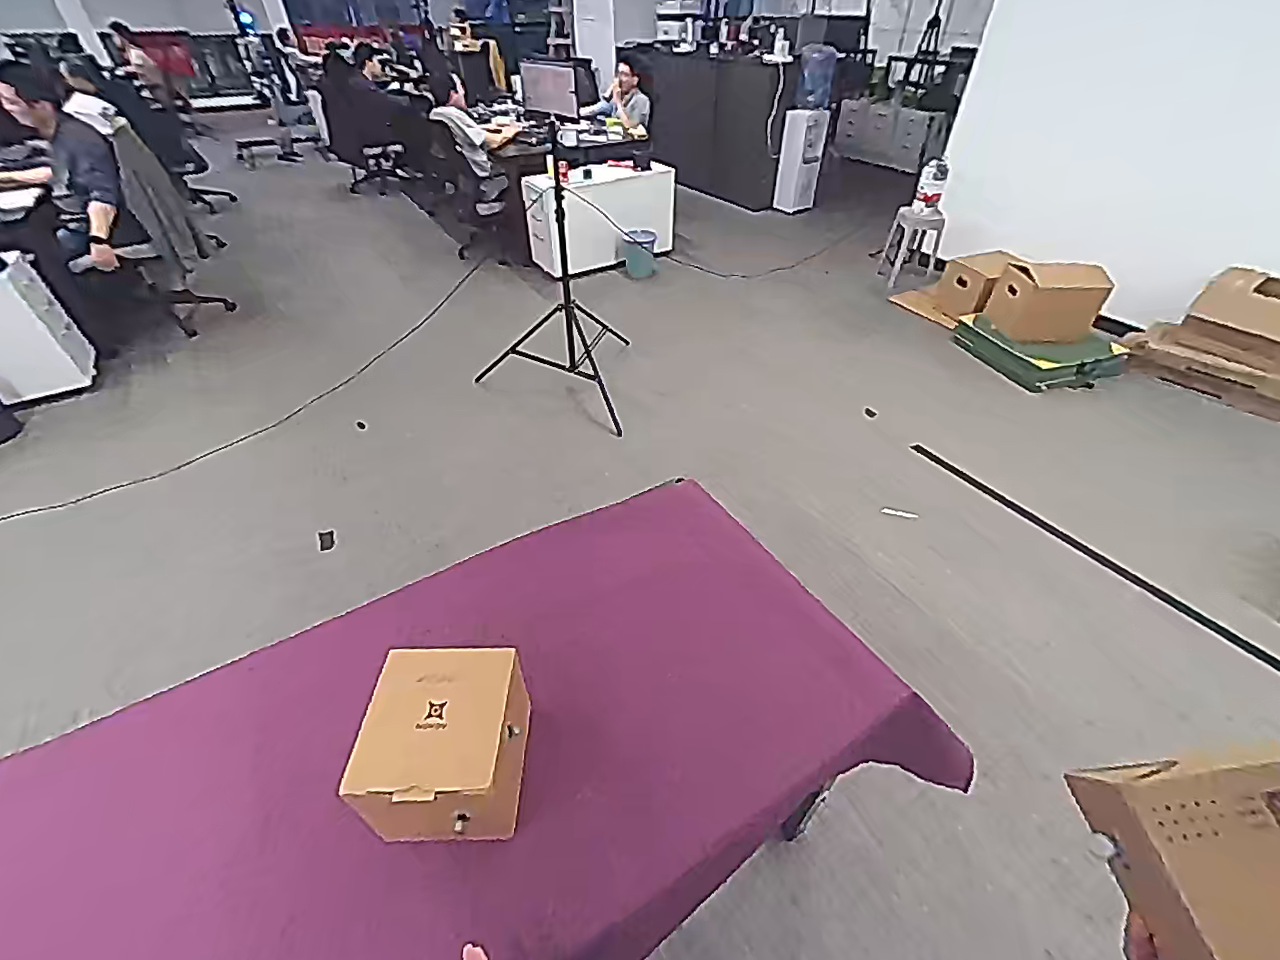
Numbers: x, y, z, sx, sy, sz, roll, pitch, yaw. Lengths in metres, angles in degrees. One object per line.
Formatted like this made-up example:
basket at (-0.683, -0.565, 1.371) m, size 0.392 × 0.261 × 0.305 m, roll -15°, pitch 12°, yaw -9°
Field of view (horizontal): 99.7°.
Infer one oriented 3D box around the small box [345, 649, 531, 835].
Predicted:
small box at (-0.242, 0.342, 0.701) m, size 0.168 × 0.176 × 0.179 m, roll -1°, pitch 41°, yaw -1°
